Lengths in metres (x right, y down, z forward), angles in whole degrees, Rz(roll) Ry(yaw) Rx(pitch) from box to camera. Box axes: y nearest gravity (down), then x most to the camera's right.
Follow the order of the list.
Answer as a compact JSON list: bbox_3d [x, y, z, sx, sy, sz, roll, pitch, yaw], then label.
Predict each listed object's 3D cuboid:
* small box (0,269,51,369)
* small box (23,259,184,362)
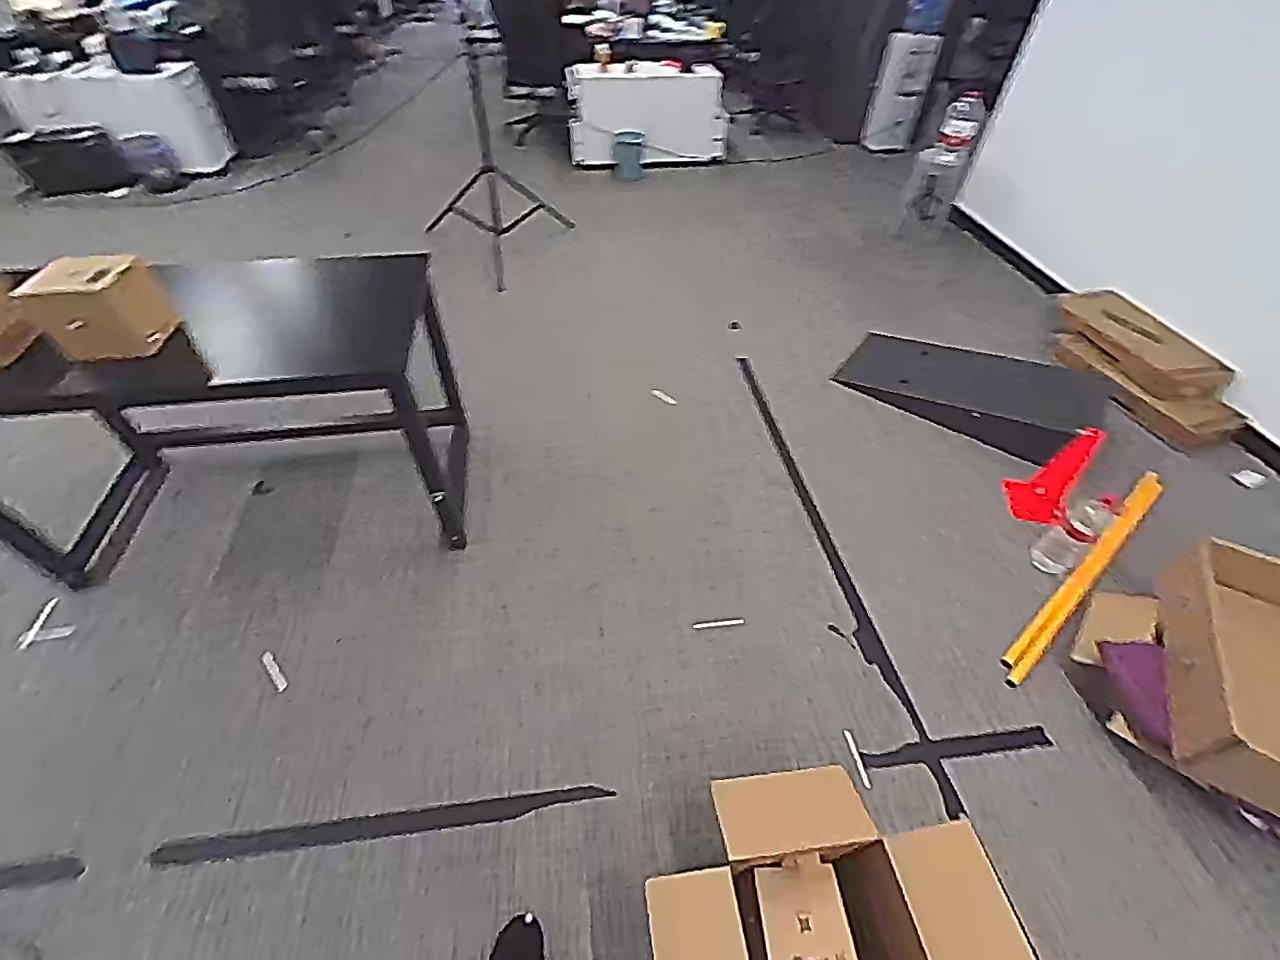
[{"bbox_3d":[-1.515,-0.357,1.216,0.179,0.176,0.168,-8,47,-8],"label":"small box"},{"bbox_3d":[-1.225,-0.393,1.256,0.179,0.176,0.168,-6,48,-5],"label":"small box"}]
